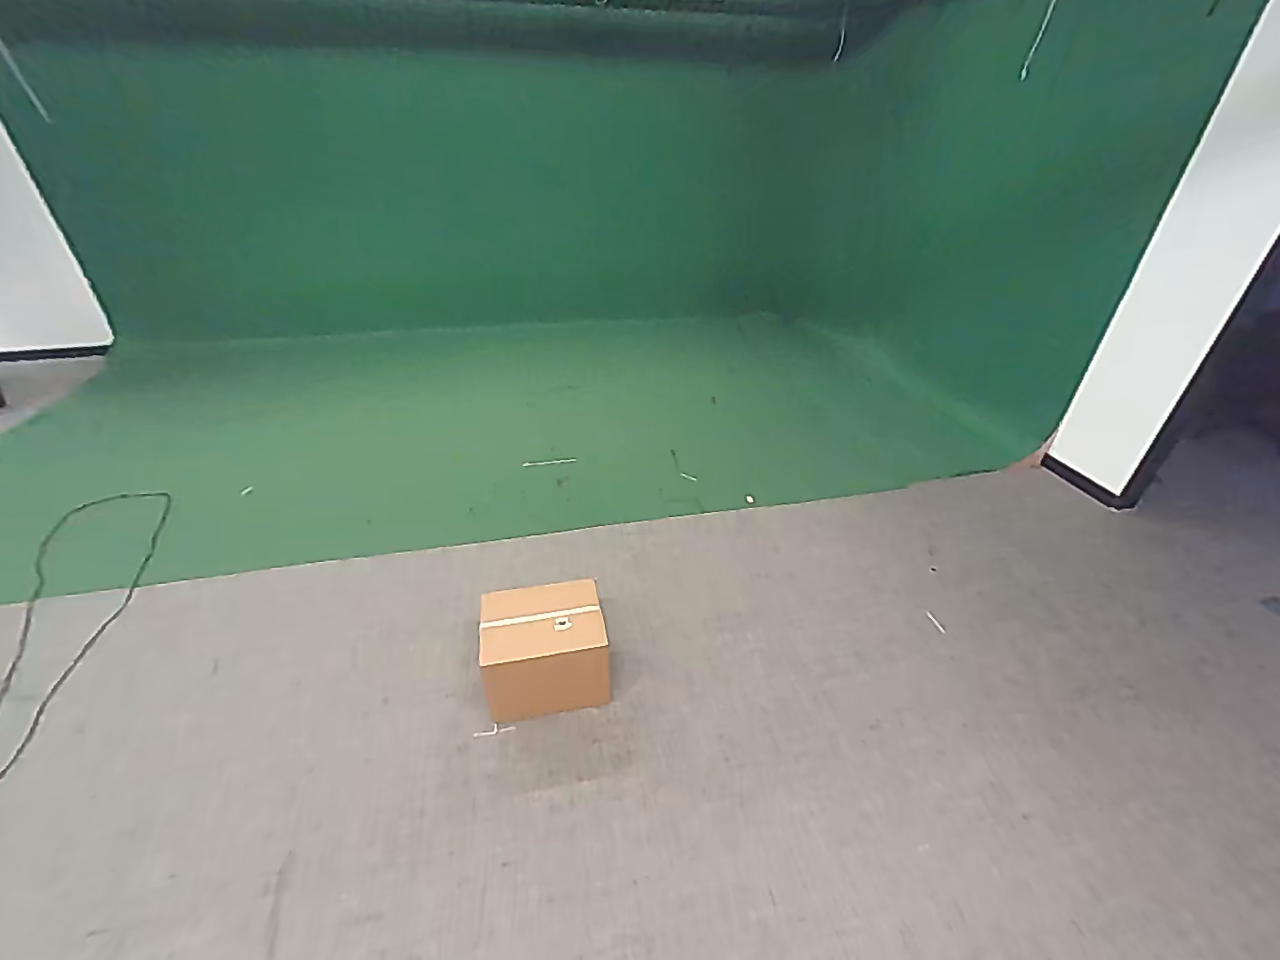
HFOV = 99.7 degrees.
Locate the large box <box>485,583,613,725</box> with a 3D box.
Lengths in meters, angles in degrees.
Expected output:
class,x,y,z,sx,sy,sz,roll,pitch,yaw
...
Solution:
class,x,y,z,sx,sy,sz,roll,pitch,yaw
large box,-0.319,0.602,1.891,0.408,0.320,0.320,-6,34,-11
